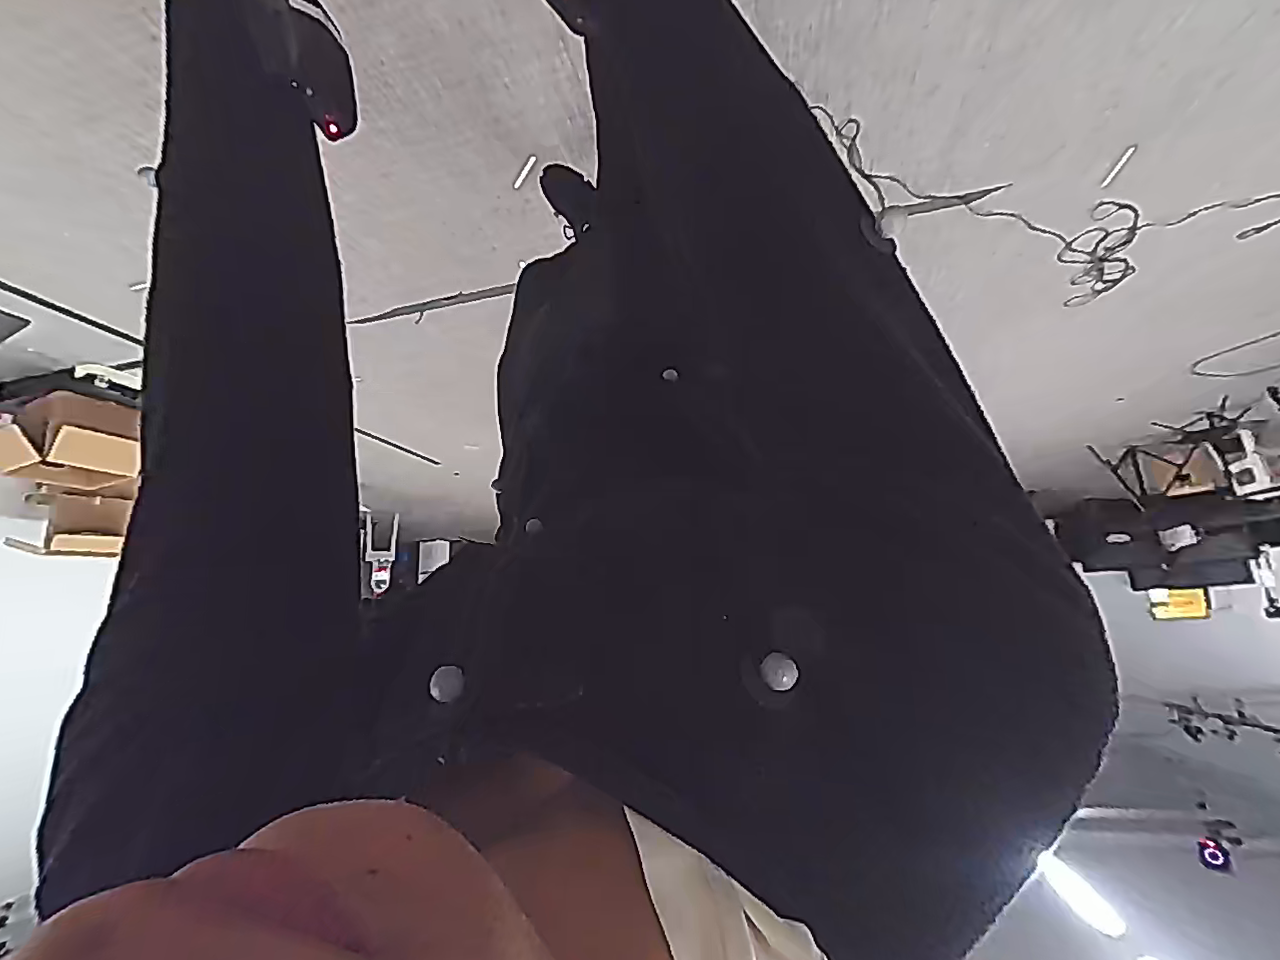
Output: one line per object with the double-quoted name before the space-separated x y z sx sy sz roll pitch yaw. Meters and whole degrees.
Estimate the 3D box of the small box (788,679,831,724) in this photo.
"small box" 0.779 1.020 2.498 0.168 0.176 0.179 -6 166 13
